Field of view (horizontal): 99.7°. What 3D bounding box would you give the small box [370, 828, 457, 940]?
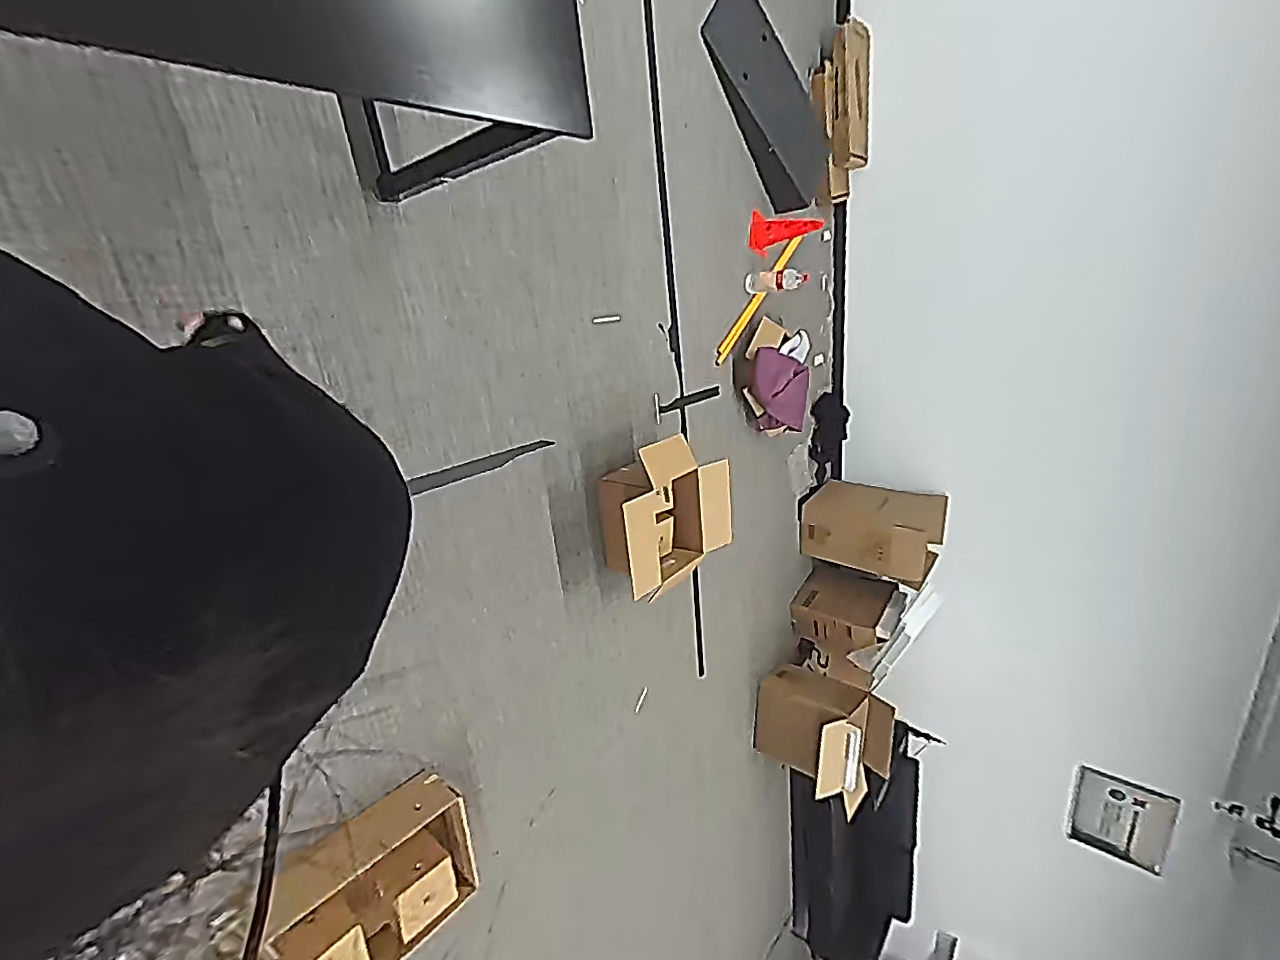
[{"bbox_3d":[-0.689,1.218,1.647,0.179,0.176,0.168,-19,110,-46],"label":"small box"}]
